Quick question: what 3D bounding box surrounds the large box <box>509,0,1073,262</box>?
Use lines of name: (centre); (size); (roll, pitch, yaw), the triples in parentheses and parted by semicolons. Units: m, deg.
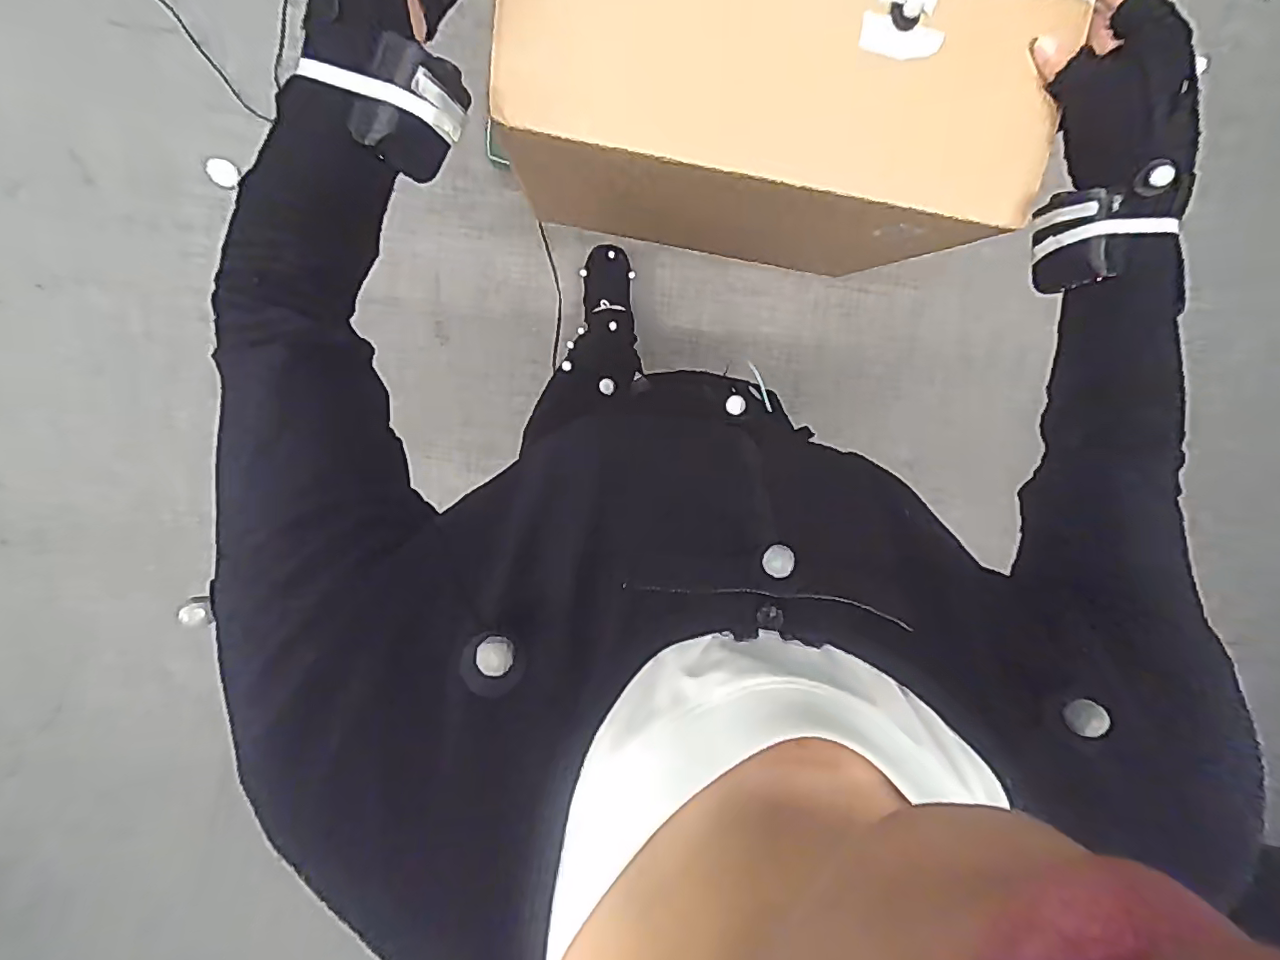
large box: (0.103, -0.415, 0.509); (0.408, 0.320, 0.320); (6, 104, -8)
